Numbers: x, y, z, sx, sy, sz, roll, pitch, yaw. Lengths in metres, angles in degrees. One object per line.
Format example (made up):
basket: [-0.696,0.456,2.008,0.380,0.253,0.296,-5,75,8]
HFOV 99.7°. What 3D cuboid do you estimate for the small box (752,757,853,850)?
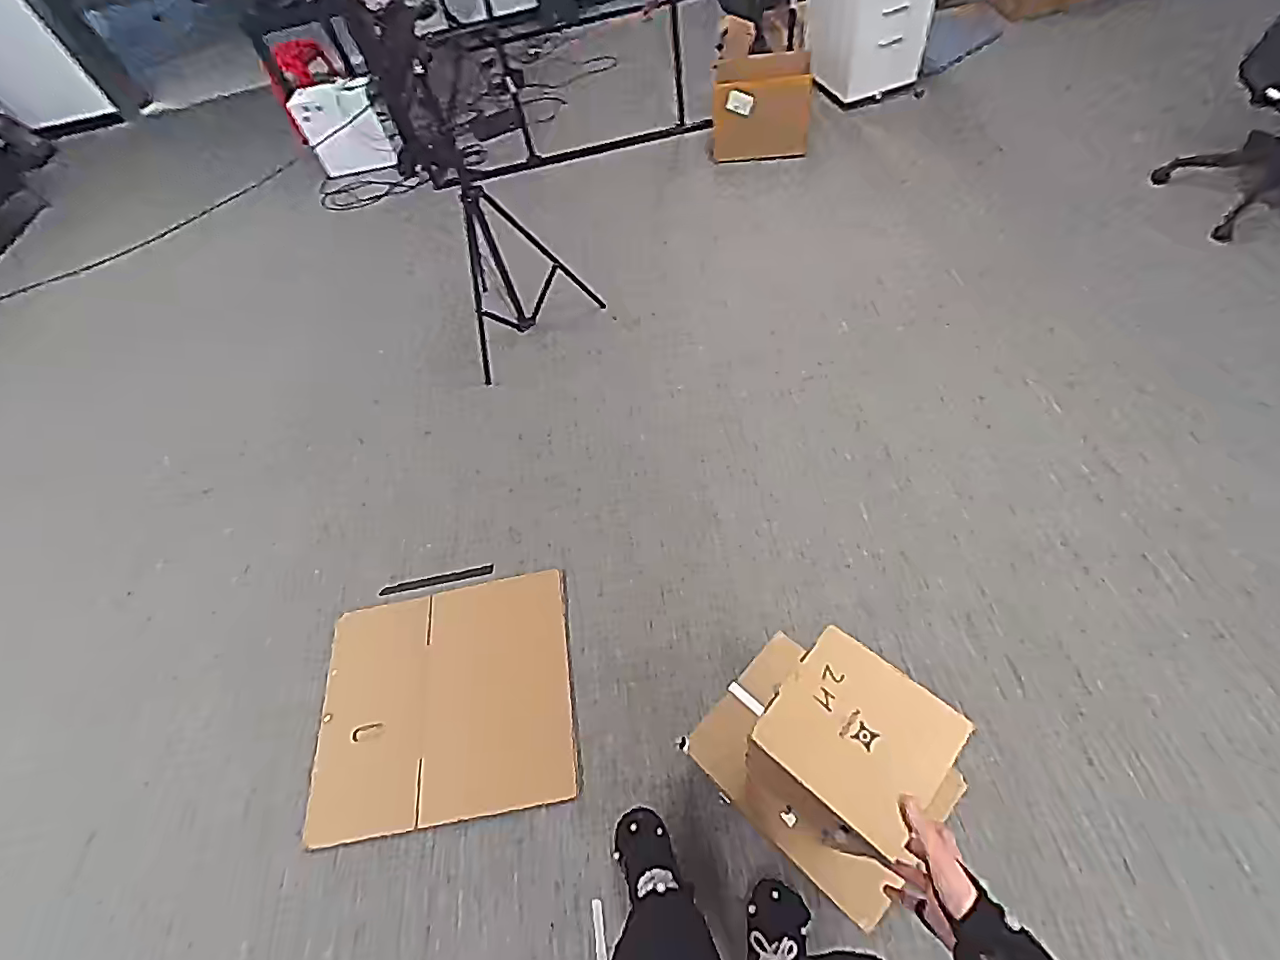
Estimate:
small box: [0.306,0.490,0.918,0.179,0.176,0.168,34,70,27]

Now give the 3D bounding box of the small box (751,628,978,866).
small box: [0.251,0.313,0.646,0.179,0.176,0.168,35,69,28]
